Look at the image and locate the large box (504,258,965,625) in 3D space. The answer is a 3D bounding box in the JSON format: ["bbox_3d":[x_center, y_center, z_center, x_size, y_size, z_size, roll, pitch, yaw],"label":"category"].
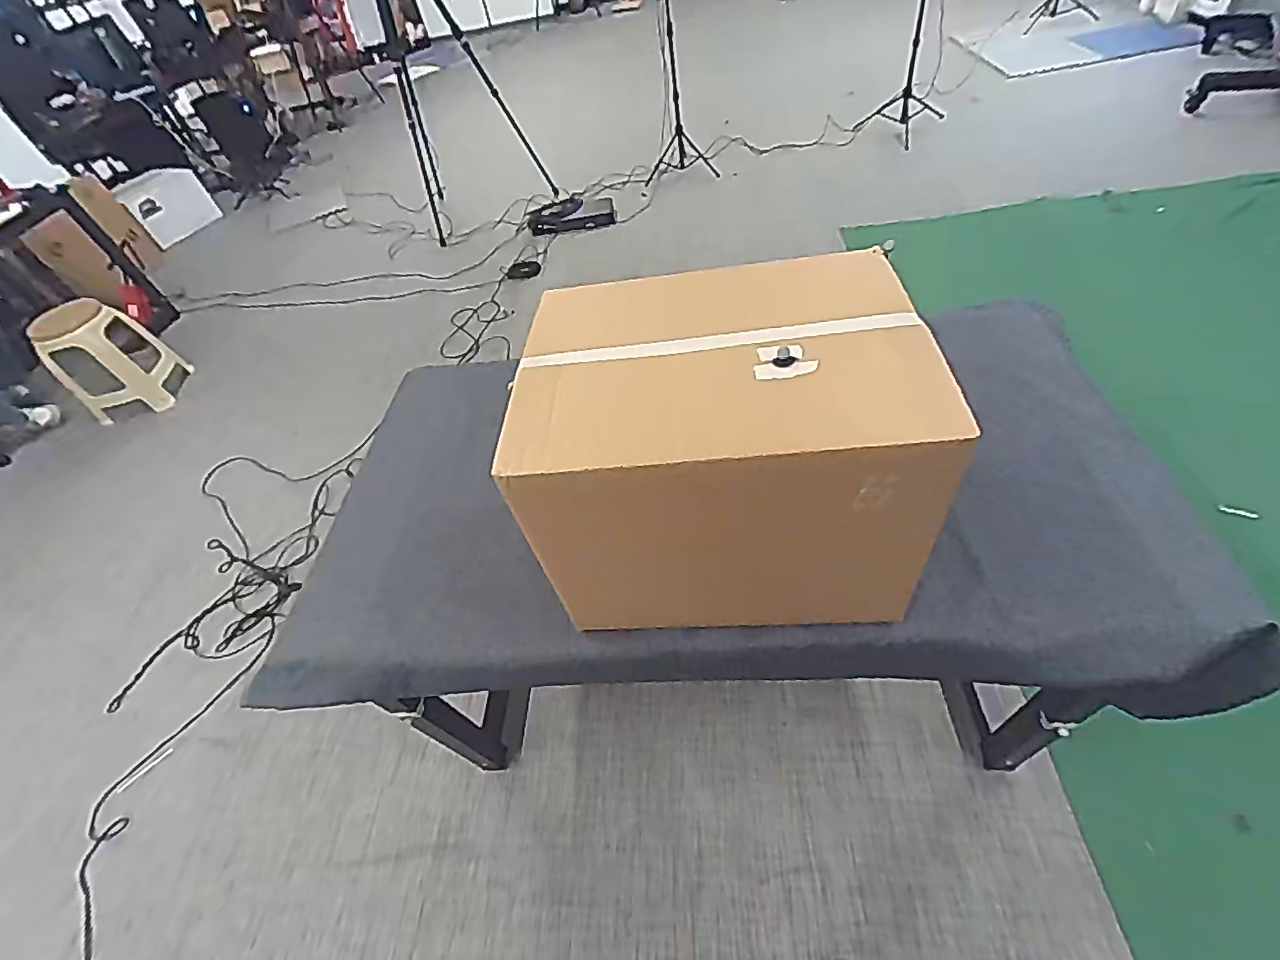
[{"bbox_3d":[0.095,-0.036,0.670,0.408,0.320,0.320,-4,49,8],"label":"large box"}]
